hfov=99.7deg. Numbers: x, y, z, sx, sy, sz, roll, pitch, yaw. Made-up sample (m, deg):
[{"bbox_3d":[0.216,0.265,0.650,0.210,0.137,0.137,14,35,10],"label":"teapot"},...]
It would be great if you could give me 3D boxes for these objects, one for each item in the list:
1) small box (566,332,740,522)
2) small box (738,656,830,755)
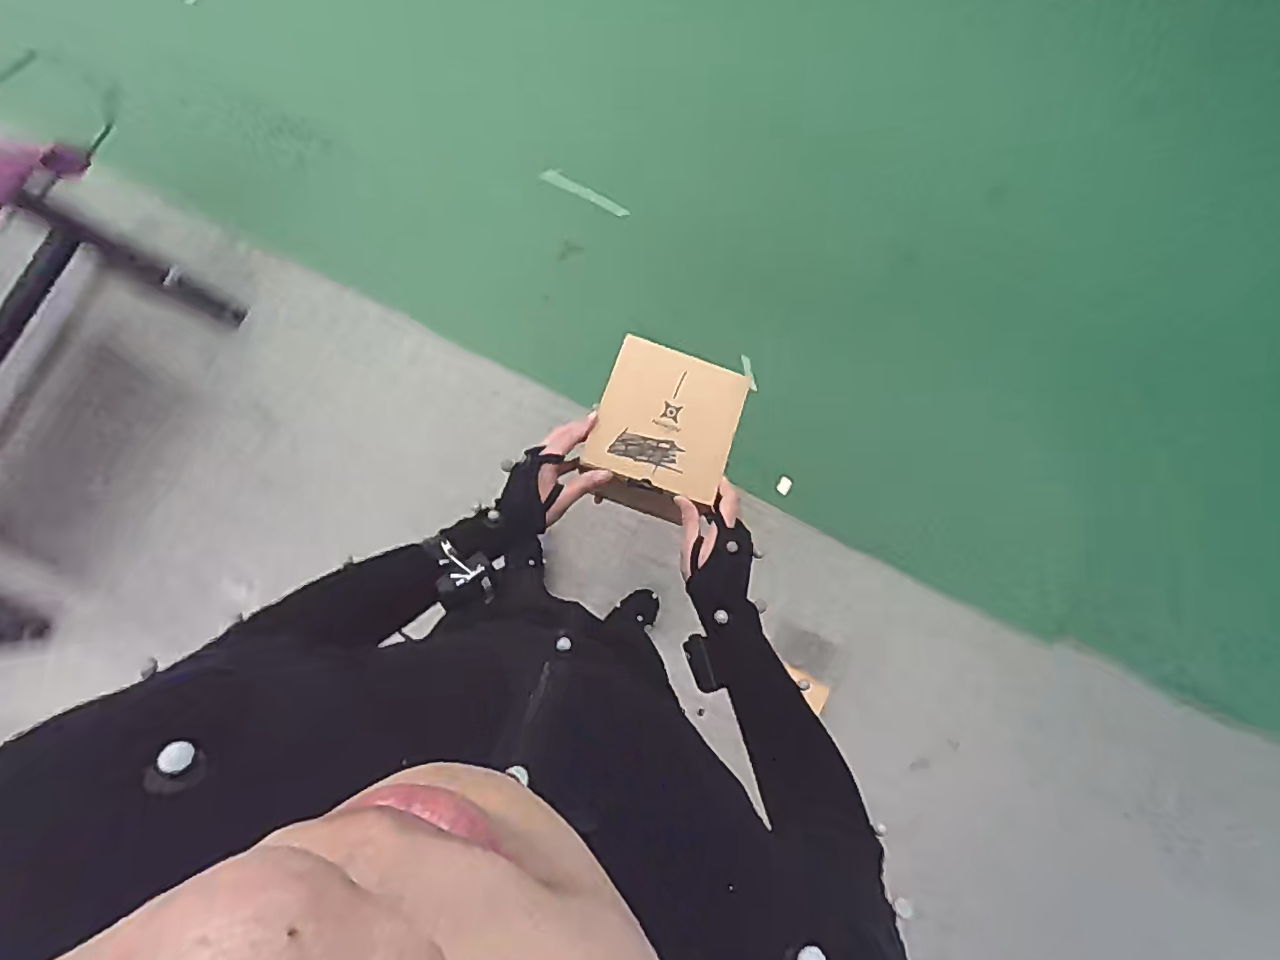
[{"bbox_3d":[0.012,-0.056,0.705,0.168,0.176,0.179,18,76,-2],"label":"small box"},{"bbox_3d":[0.388,0.610,1.492,0.168,0.176,0.179,31,83,5],"label":"small box"}]
